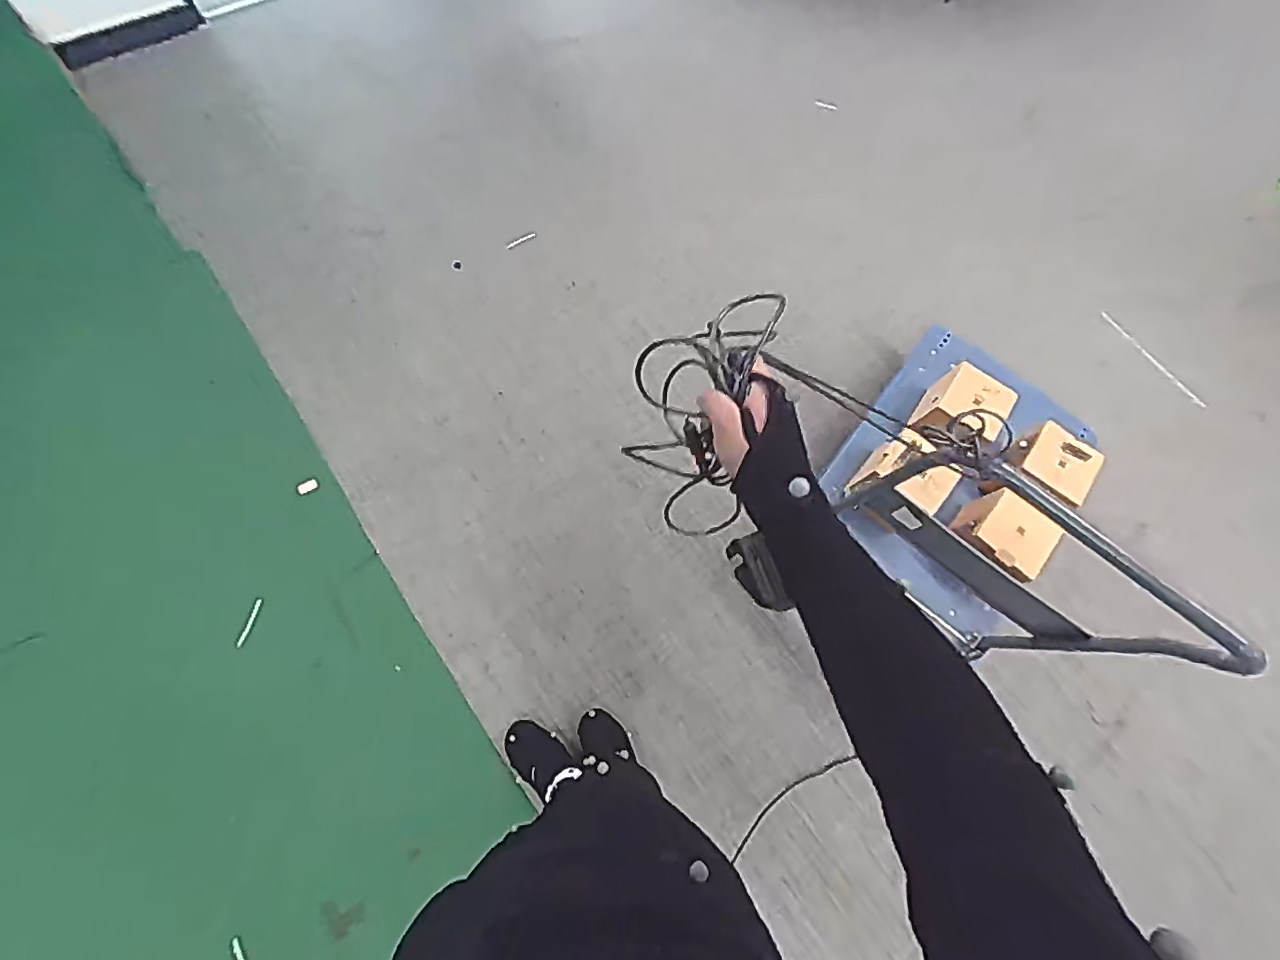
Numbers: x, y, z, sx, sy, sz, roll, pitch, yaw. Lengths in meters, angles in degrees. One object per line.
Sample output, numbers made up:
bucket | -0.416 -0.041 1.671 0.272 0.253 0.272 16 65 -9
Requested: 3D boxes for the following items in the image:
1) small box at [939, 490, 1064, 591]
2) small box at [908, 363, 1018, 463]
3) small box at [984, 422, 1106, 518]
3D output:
small box | 0.901 0.158 1.364 0.168 0.176 0.179 41 73 9
small box | 0.866 -0.174 1.470 0.168 0.176 0.179 36 72 7
small box | 1.062 -0.015 1.434 0.168 0.176 0.179 38 73 9
